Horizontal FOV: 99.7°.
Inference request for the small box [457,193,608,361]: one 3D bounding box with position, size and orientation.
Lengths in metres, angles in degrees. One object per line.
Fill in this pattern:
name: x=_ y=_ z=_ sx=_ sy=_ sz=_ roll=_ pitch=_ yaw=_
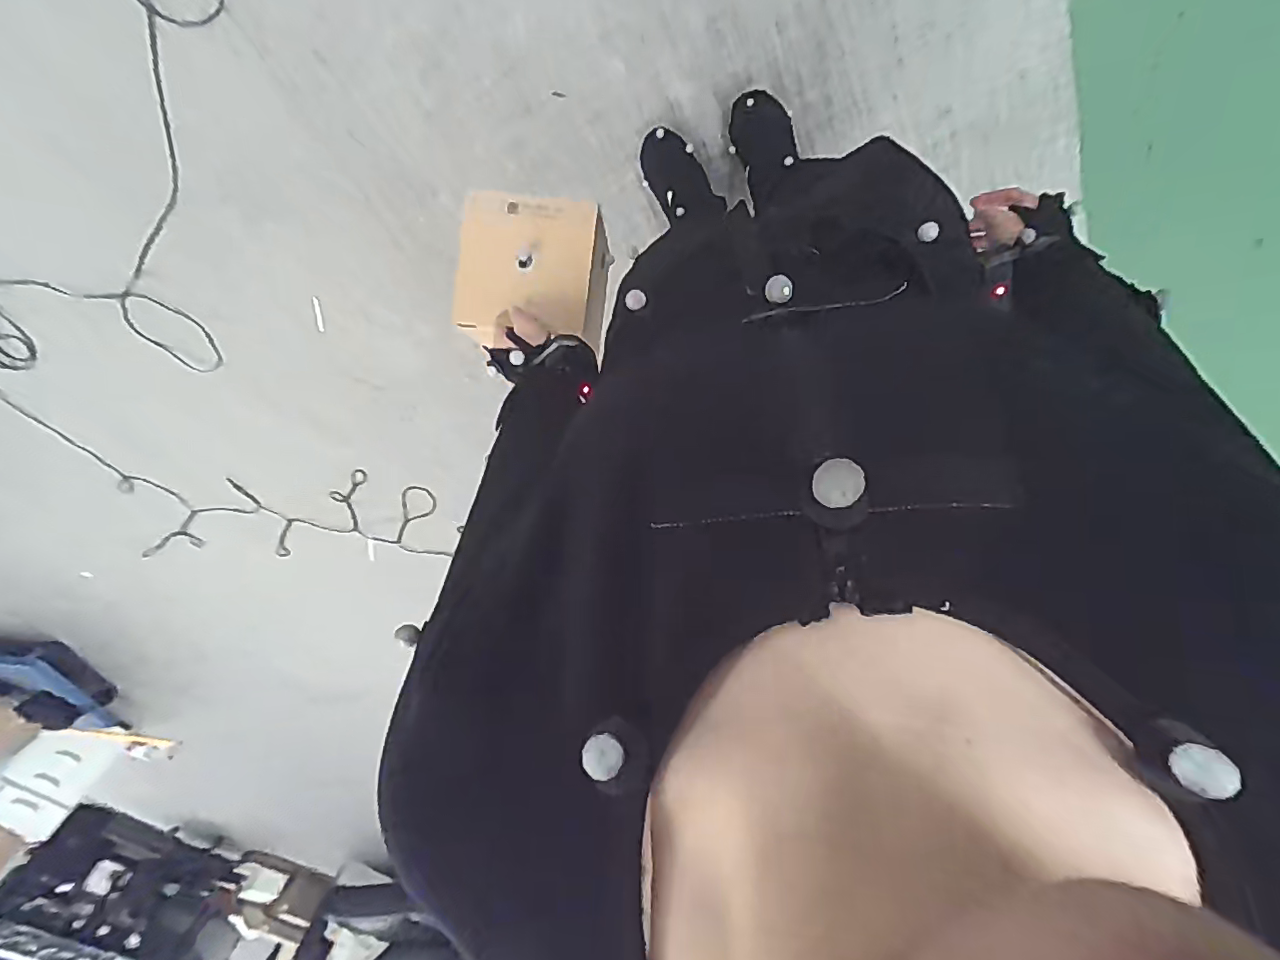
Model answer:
small box: x=-0.138 y=-0.270 z=0.746 sx=0.168 sy=0.179 sz=0.176 roll=7 pitch=93 yaw=1
